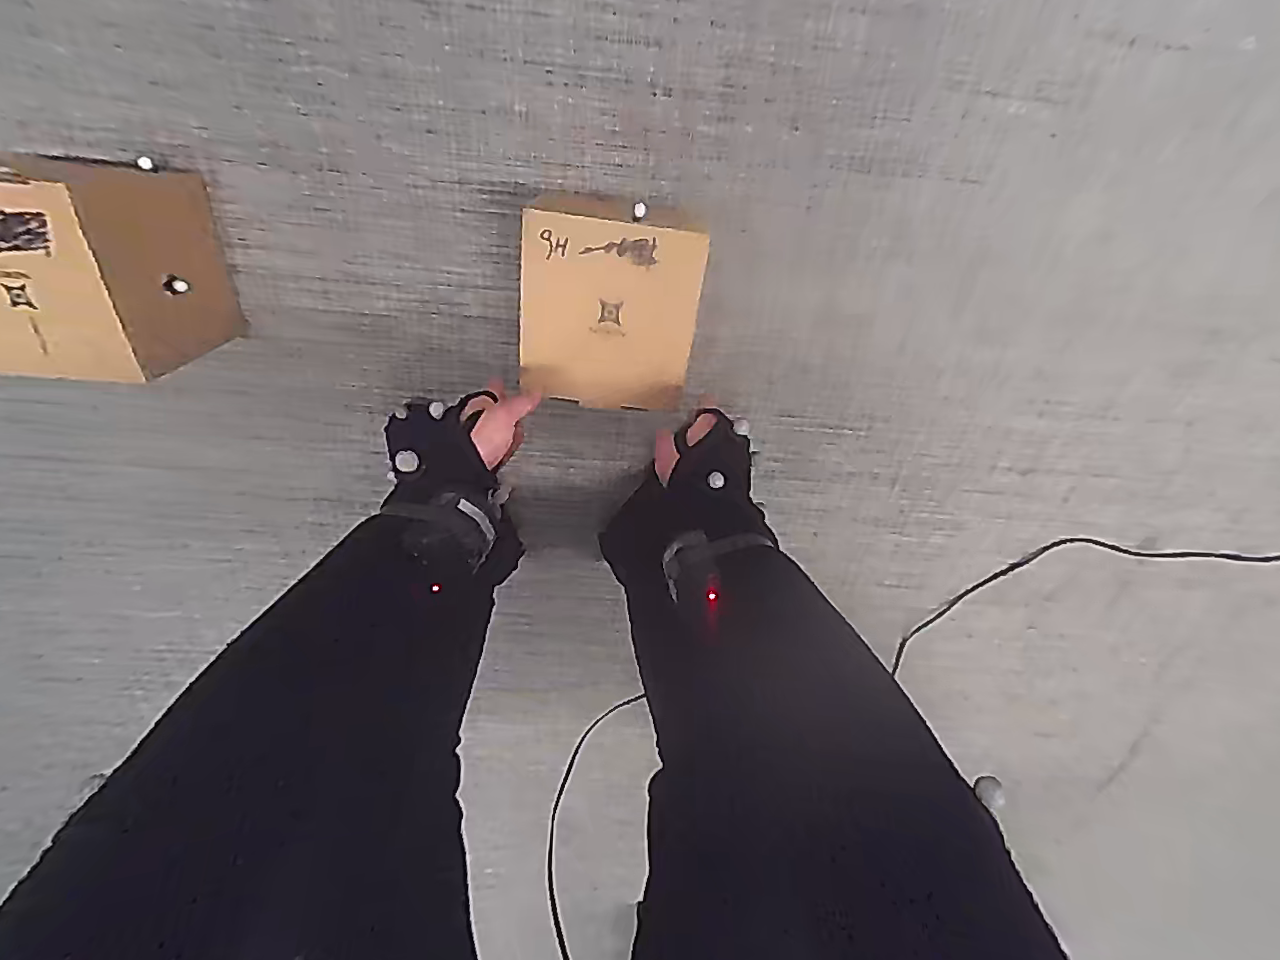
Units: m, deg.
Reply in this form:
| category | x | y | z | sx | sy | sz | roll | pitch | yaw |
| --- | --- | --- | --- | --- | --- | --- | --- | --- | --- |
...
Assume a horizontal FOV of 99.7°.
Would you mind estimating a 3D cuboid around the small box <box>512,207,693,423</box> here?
| category | x | y | z | sx | sy | sz | roll | pitch | yaw |
| --- | --- | --- | --- | --- | --- | --- | --- | --- | --- |
| small box | -0.042 | -0.184 | 0.592 | 0.168 | 0.176 | 0.179 | 6 | 123 | -4 |

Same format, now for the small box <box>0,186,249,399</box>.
| category | x | y | z | sx | sy | sz | roll | pitch | yaw |
| --- | --- | --- | --- | --- | --- | --- | --- | --- | --- |
| small box | -0.565 | -0.204 | 0.571 | 0.168 | 0.176 | 0.179 | 3 | 123 | -2 |
